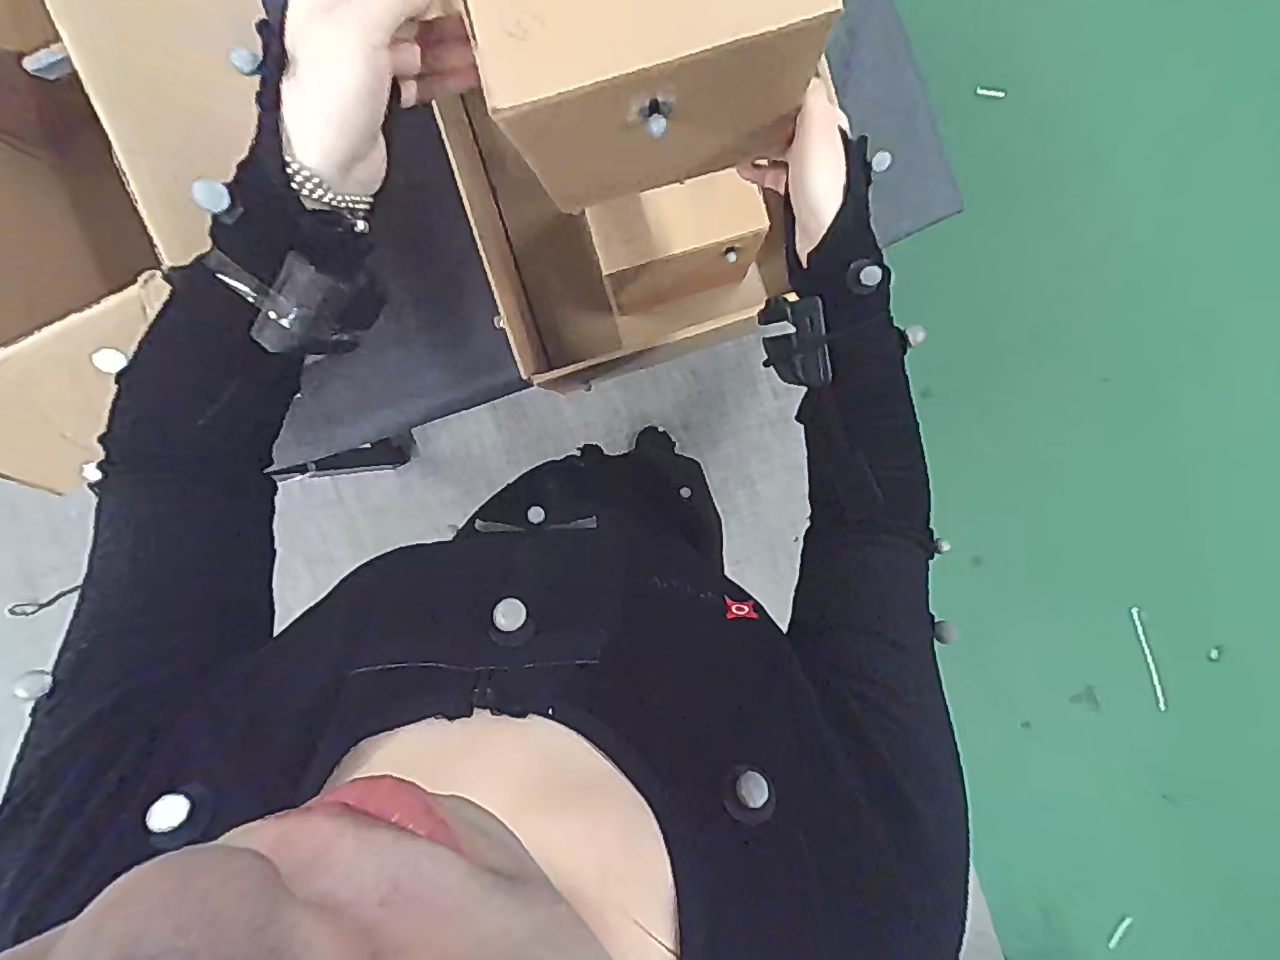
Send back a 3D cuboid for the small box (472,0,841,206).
[{"bbox_3d":[0.003,-0.293,0.333,0.179,0.176,0.168,-12,100,7],"label":"small box"}]
